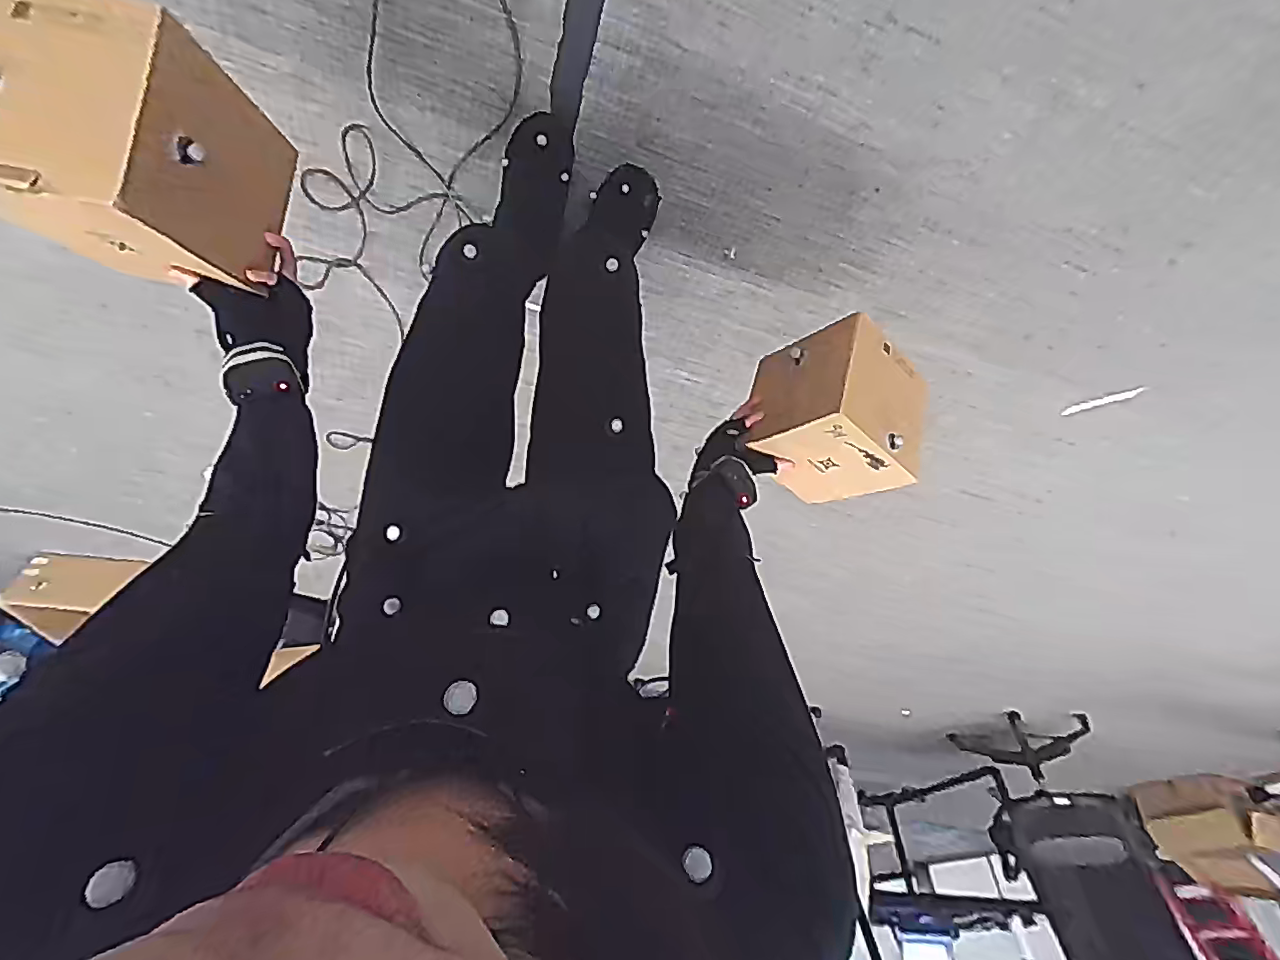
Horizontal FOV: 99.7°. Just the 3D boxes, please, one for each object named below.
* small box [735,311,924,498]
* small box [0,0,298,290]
[{"bbox_3d":[0.267,-0.097,0.754,0.168,0.176,0.179,31,153,-24],"label":"small box"},{"bbox_3d":[-0.462,-0.303,0.503,0.168,0.176,0.179,11,178,1],"label":"small box"}]
